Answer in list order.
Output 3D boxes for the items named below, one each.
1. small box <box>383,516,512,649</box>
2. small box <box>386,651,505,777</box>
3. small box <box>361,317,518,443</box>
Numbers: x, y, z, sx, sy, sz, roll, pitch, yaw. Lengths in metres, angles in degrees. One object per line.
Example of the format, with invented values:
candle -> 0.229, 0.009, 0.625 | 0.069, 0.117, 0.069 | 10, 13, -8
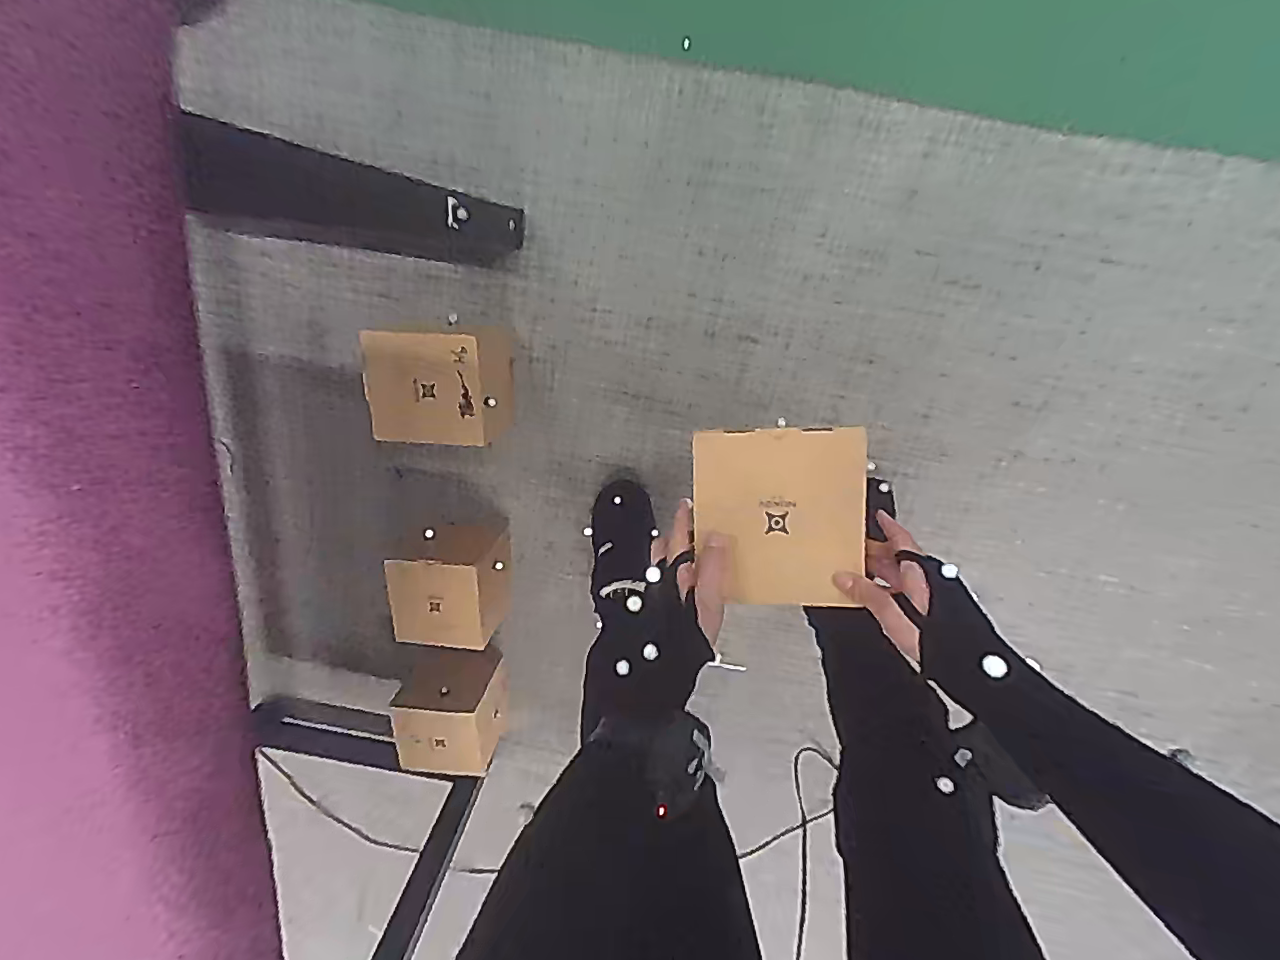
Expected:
small box -> -0.342, 0.180, 0.994 | 0.168, 0.176, 0.179 | 5, 112, 5
small box -> -0.385, 0.473, 1.109 | 0.179, 0.176, 0.168 | 3, 111, 5
small box -> -0.305, -0.166, 0.856 | 0.179, 0.176, 0.168 | 5, 111, 5
